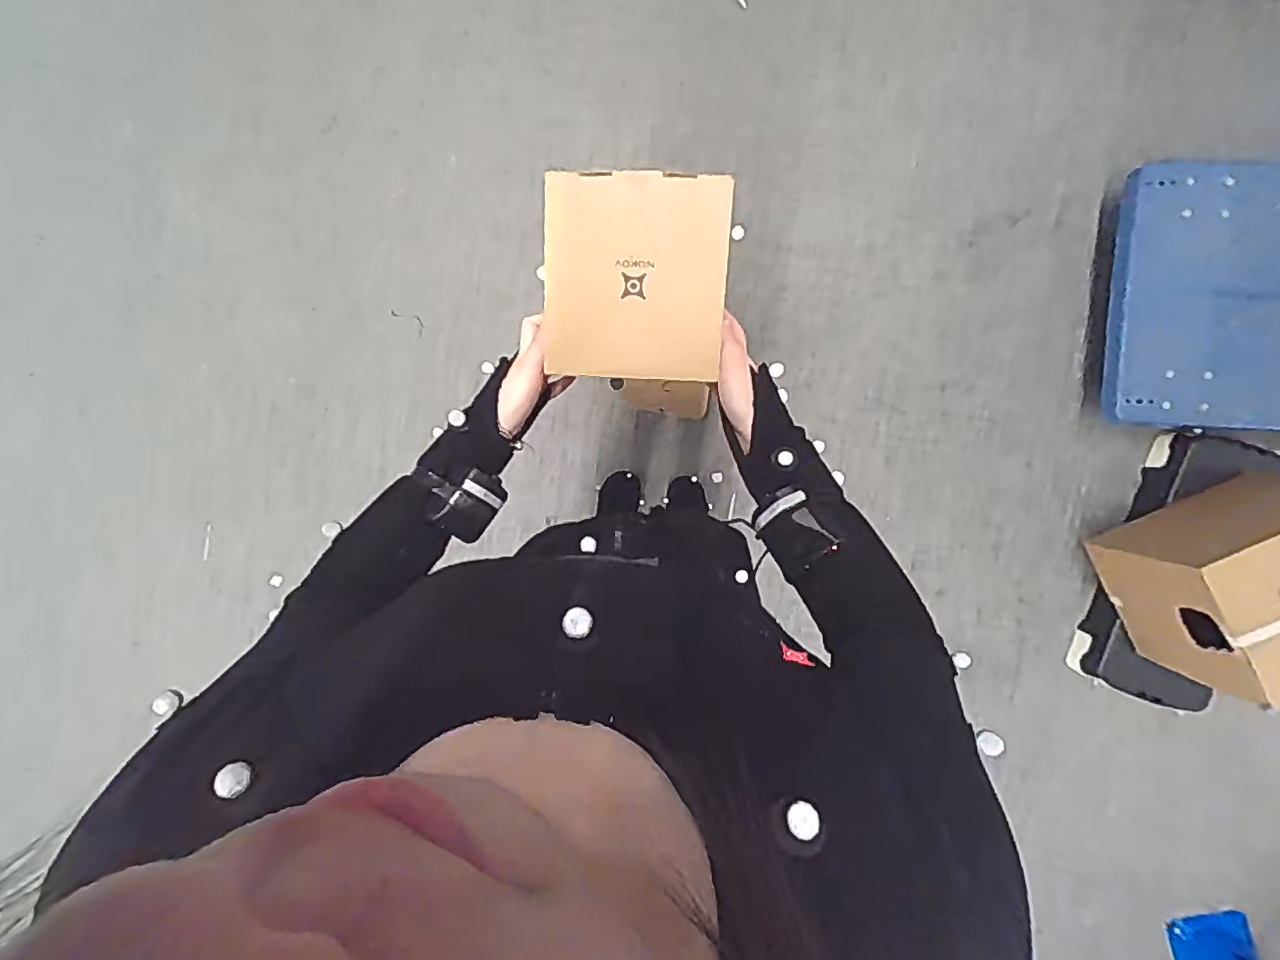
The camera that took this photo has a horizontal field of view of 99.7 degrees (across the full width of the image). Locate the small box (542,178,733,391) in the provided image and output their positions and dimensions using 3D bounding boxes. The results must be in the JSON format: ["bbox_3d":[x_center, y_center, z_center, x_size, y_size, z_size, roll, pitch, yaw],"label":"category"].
[{"bbox_3d":[0.001,-0.189,0.555,0.168,0.176,0.179,3,103,4],"label":"small box"}]

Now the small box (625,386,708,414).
[{"bbox_3d":[0.074,-0.248,1.235,0.179,0.176,0.168,11,95,3],"label":"small box"}]
